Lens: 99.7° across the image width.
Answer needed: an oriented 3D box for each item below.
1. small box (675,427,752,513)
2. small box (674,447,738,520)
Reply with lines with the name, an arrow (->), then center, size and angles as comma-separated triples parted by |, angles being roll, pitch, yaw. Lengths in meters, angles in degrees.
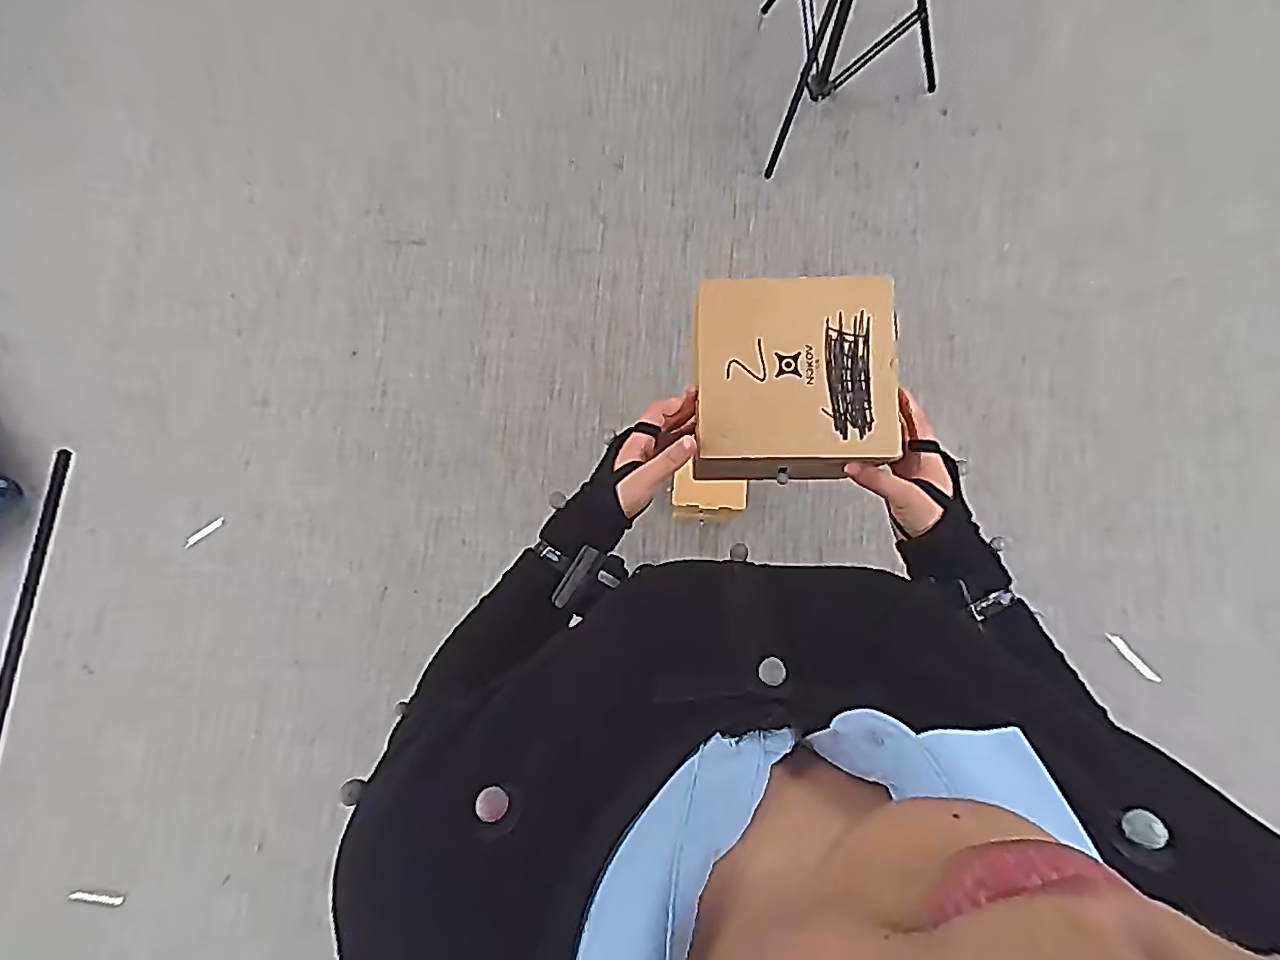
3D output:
small box -> 0.171, -0.019, 1.295 | 0.168, 0.176, 0.179 | 4, 82, 5
small box -> 0.178, 0.014, 1.455 | 0.168, 0.176, 0.179 | 2, 81, 4
